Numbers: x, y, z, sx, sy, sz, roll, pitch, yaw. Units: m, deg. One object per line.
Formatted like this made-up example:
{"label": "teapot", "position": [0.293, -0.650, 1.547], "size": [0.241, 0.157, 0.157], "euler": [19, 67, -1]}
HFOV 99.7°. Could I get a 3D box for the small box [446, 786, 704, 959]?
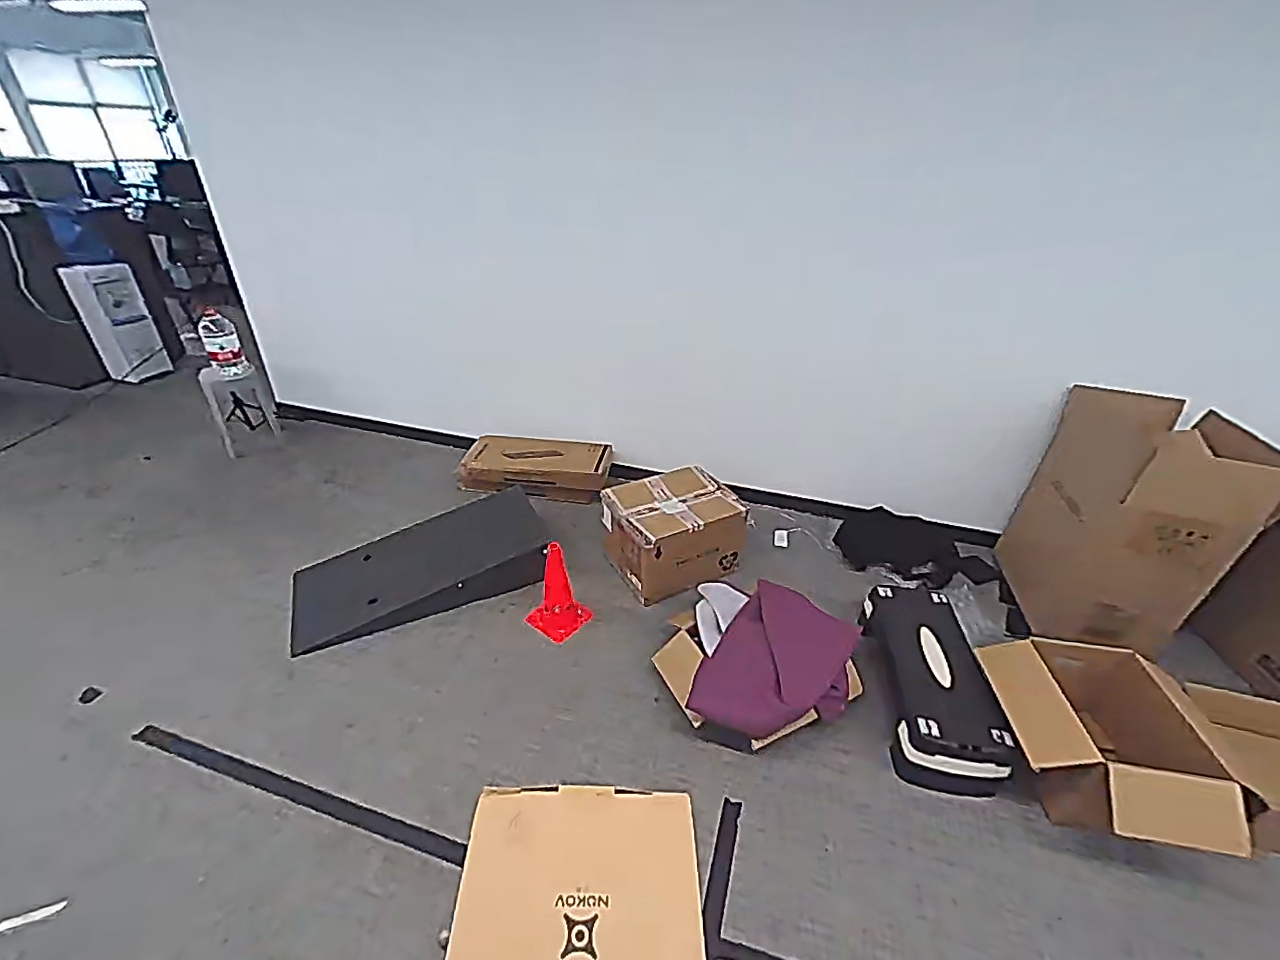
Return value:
{"label": "small box", "position": [-0.049, 0.358, 0.400], "size": [0.168, 0.176, 0.179], "euler": [4, 36, -5]}
